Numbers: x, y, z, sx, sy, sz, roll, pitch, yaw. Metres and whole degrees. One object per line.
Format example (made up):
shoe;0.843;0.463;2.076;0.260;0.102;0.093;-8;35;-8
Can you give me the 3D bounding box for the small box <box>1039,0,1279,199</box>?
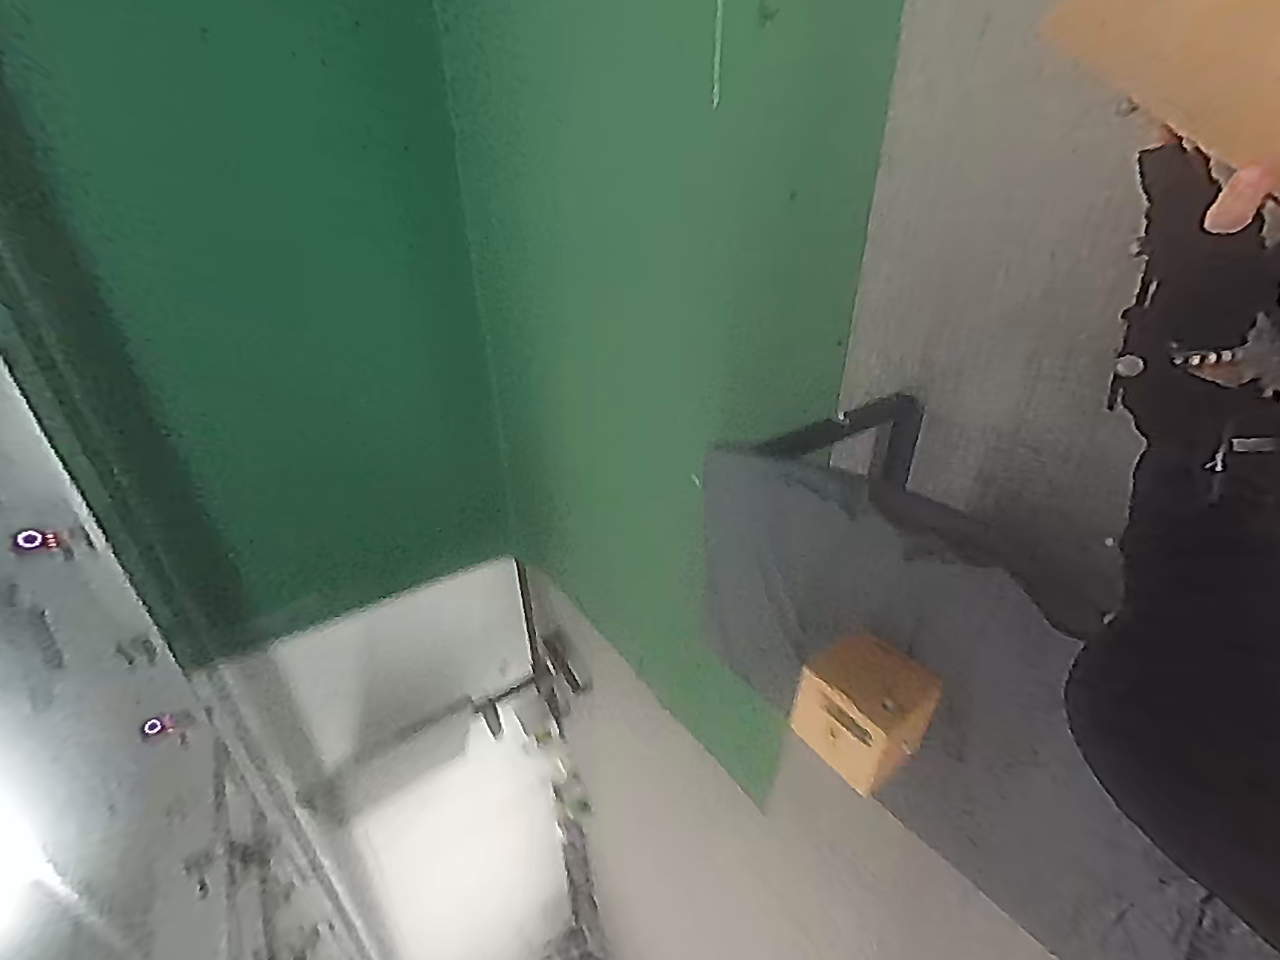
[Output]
small box;0.359;-0.292;0.279;0.179;0.176;0.168;39;144;2
